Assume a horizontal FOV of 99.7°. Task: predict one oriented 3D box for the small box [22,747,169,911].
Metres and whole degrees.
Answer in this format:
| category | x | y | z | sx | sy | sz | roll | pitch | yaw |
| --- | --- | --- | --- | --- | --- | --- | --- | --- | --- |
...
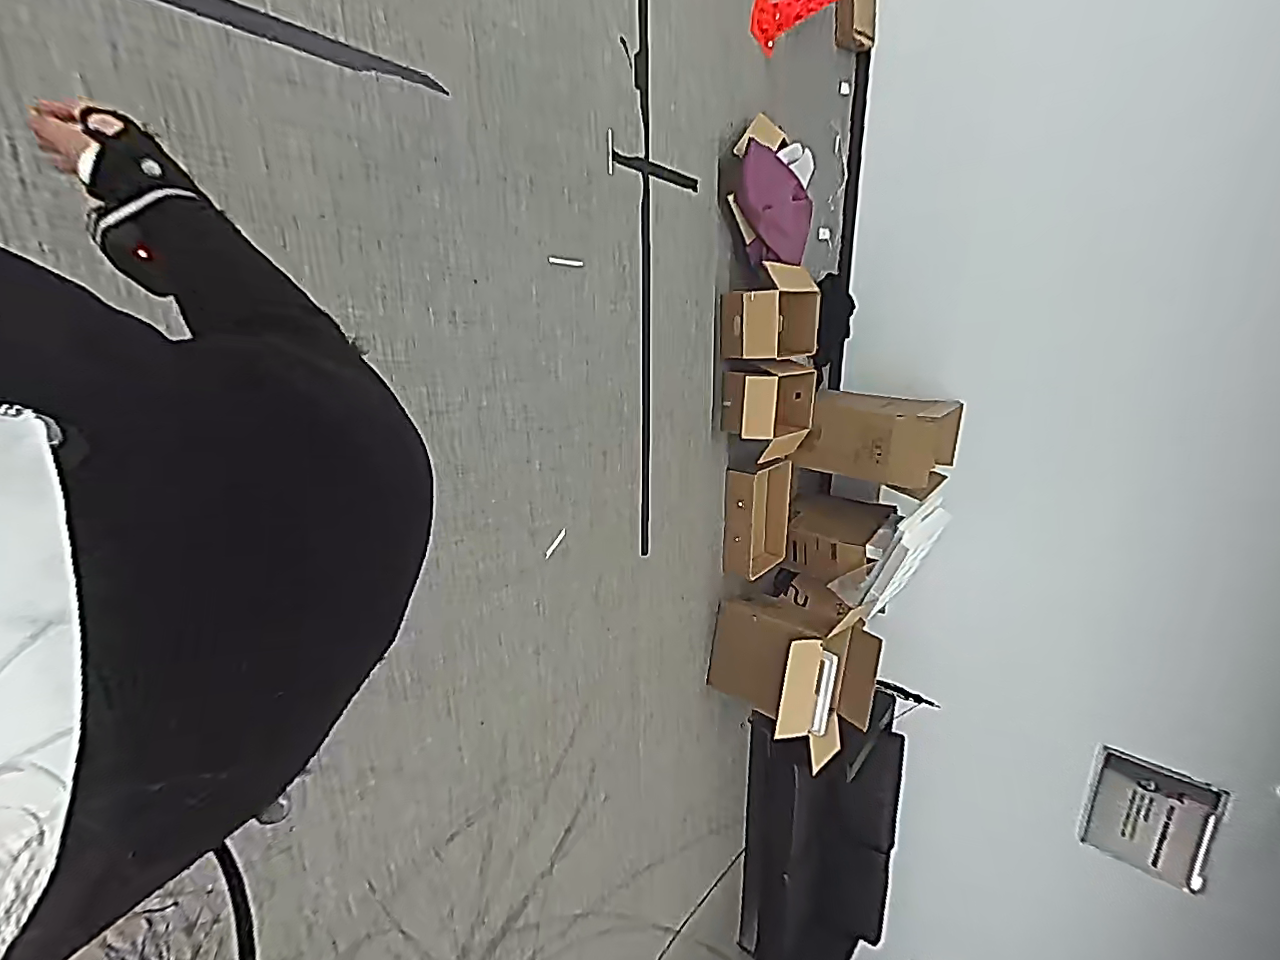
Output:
| category | x | y | z | sx | sy | sz | roll | pitch | yaw |
| --- | --- | --- | --- | --- | --- | --- | --- | --- | --- |
| small box | -1.036 | 0.644 | 1.030 | 0.168 | 0.176 | 0.179 | -15 | 110 | -47 |
